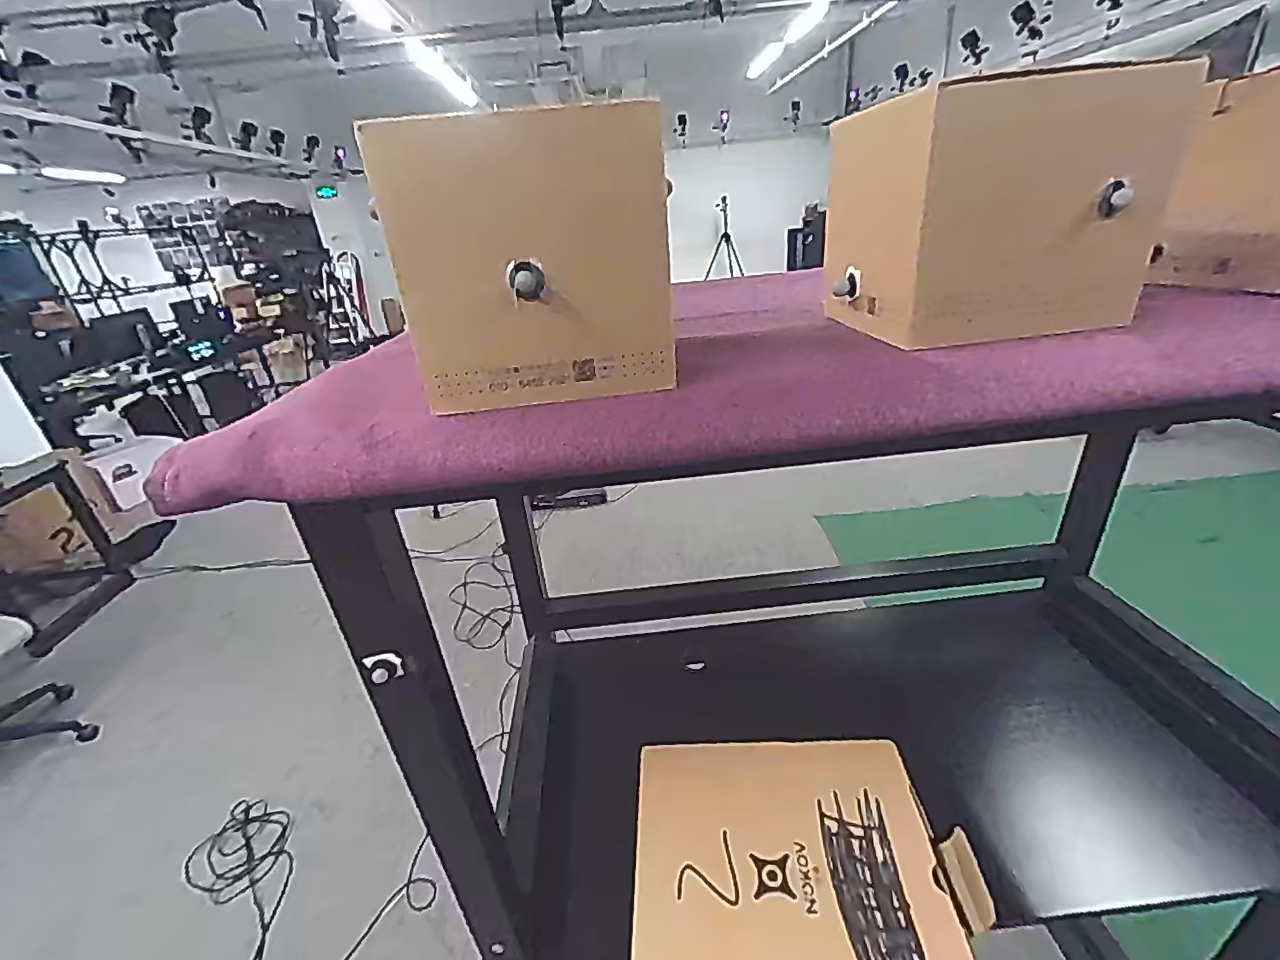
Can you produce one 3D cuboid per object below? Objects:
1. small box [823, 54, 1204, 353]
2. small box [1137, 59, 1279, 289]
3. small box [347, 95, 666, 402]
[{"bbox_3d":[0.262,-0.210,0.433,0.179,0.176,0.168,-8,26,-2],"label":"small box"},{"bbox_3d":[0.580,-0.262,0.460,0.179,0.176,0.168,-6,24,0],"label":"small box"},{"bbox_3d":[-0.075,-0.160,0.396,0.168,0.176,0.179,-6,27,-3],"label":"small box"}]
